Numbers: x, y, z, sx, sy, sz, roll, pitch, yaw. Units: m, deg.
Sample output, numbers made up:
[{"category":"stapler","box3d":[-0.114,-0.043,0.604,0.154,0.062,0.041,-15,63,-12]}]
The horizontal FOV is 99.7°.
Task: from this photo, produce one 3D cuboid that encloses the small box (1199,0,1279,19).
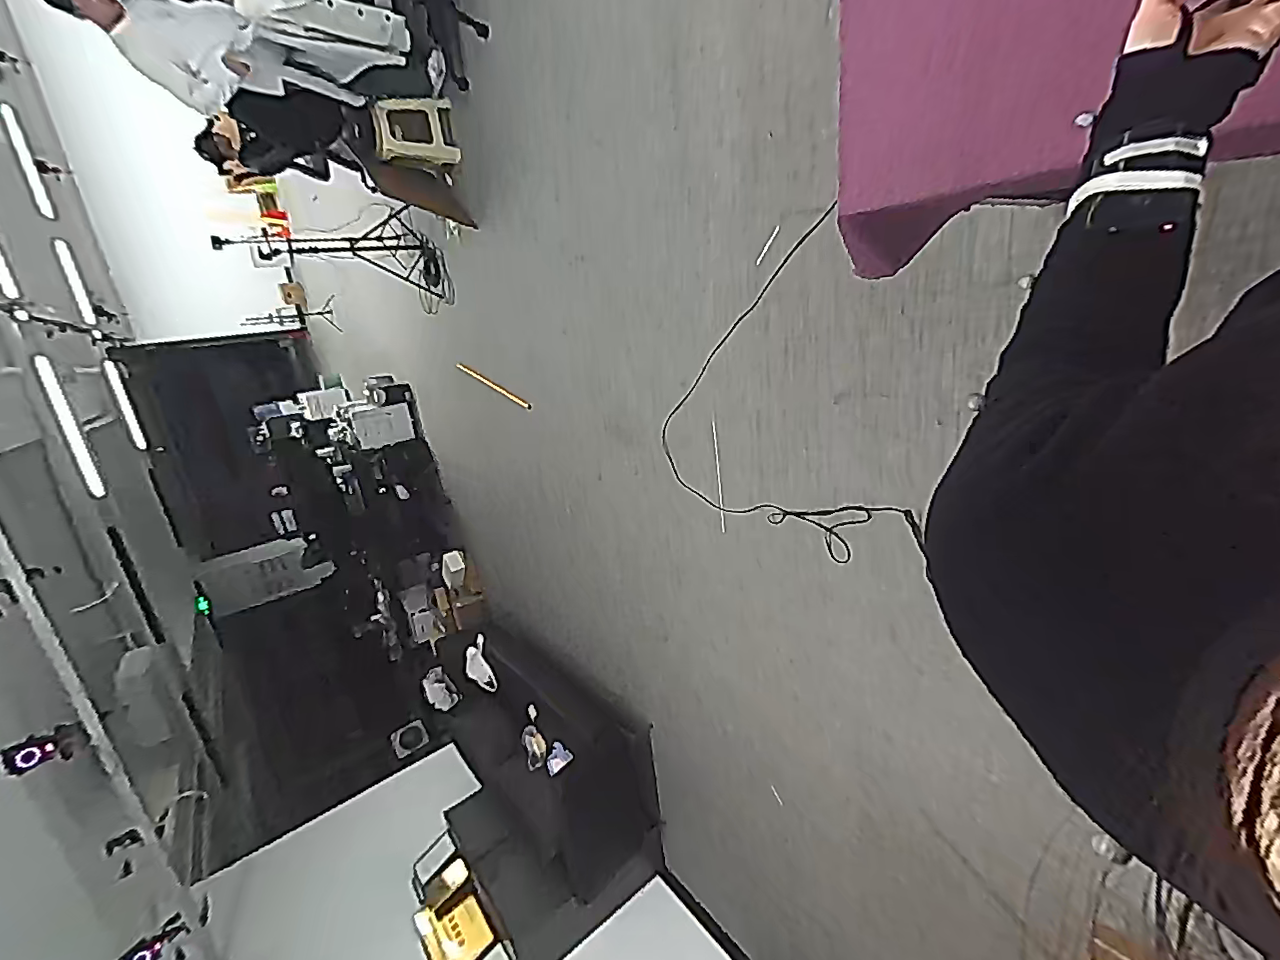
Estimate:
[{"category":"small box","box3d":[0.512,-0.441,0.352,0.168,0.176,0.179,20,120,49]}]
